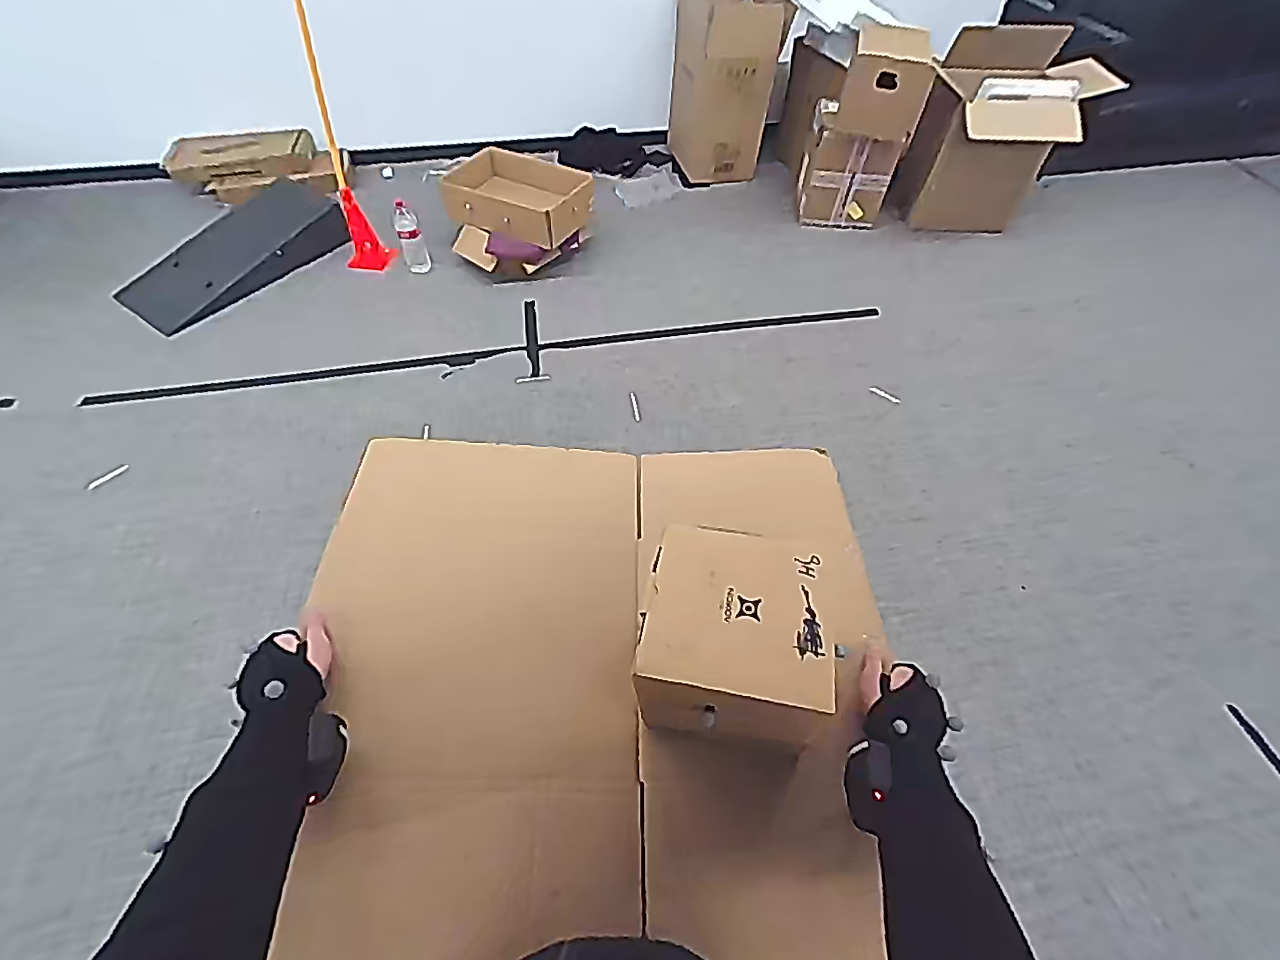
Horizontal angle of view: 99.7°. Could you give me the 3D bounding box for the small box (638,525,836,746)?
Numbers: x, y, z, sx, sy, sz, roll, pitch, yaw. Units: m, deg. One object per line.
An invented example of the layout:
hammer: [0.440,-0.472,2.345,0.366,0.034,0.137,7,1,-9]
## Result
small box: [0.105,0.170,0.582,0.179,0.176,0.168,7,53,11]
